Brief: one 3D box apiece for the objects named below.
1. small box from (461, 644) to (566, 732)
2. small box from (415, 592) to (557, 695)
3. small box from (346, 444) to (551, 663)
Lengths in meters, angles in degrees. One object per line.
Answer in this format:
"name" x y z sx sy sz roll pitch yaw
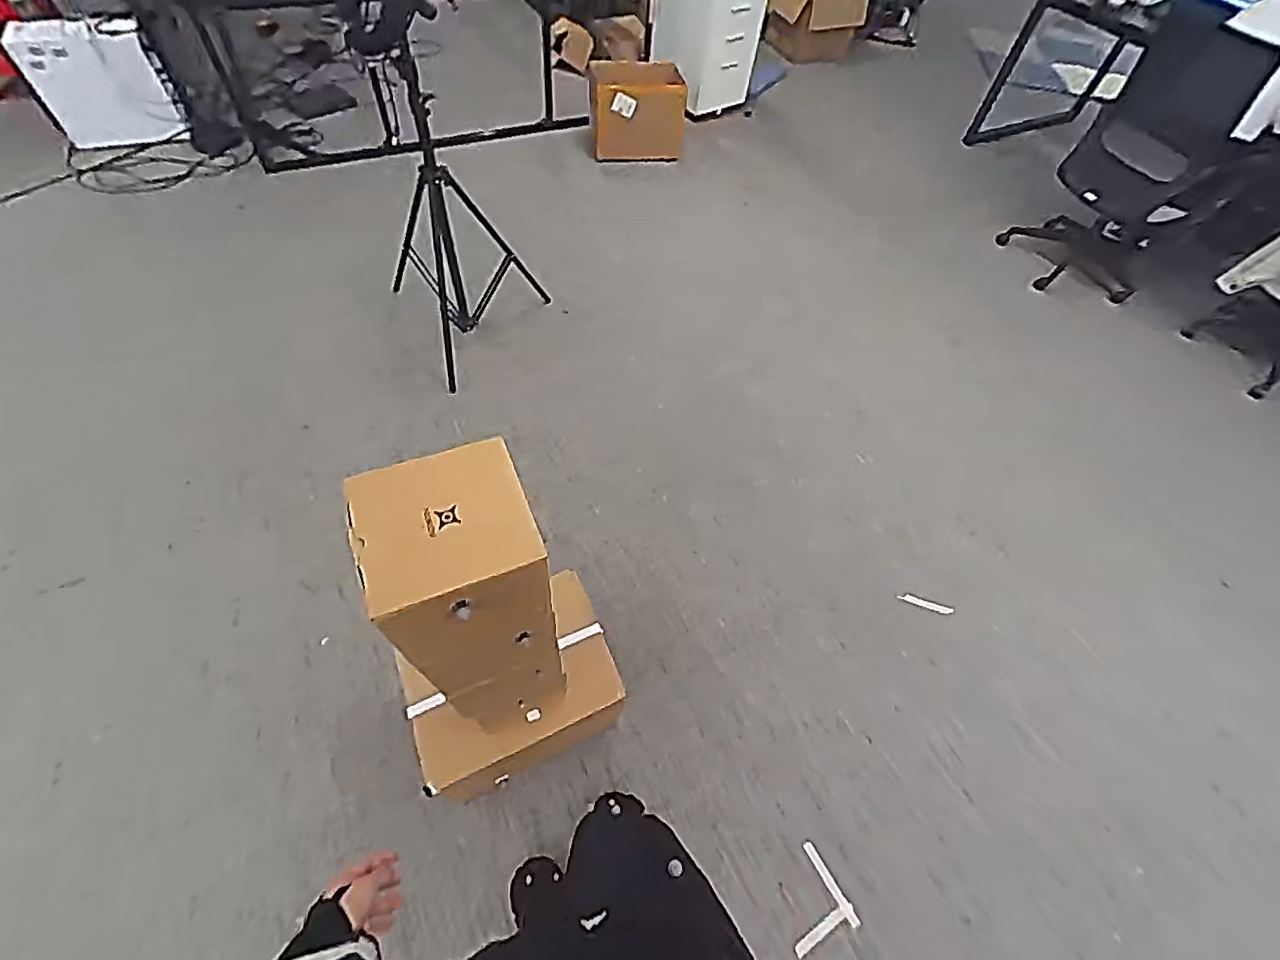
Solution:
"small box" -0.251 0.359 1.038 0.179 0.176 0.168 -22 62 -20
"small box" -0.226 0.178 0.764 0.179 0.176 0.168 -19 61 -18
"small box" -0.211 0.089 0.630 0.179 0.176 0.168 -19 61 -17
